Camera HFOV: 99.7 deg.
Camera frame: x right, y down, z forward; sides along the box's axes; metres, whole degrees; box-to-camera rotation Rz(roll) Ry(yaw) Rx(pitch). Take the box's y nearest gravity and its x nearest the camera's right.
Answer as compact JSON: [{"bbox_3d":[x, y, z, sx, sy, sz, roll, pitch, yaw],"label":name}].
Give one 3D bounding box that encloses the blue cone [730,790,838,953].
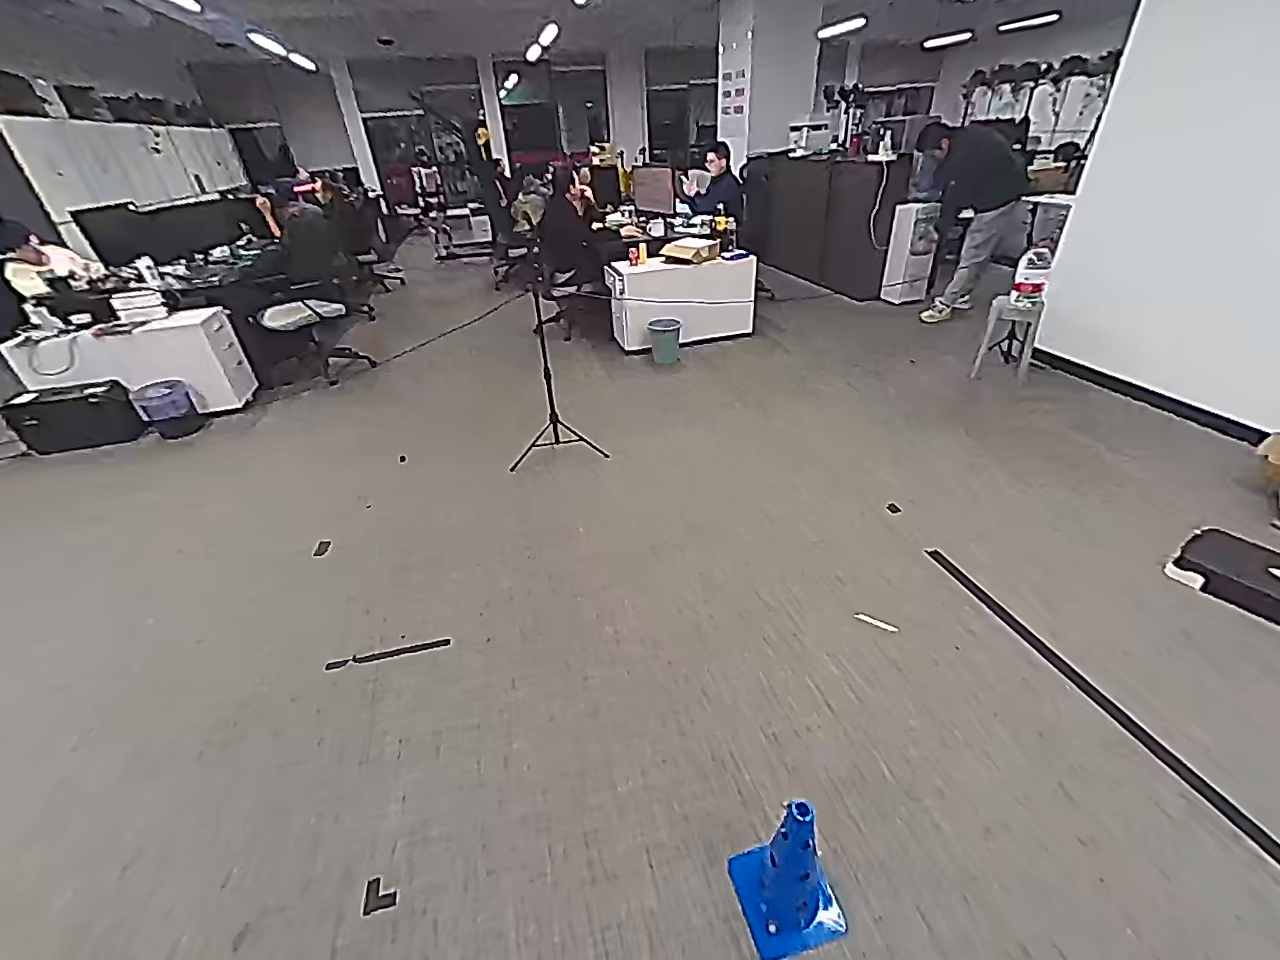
[{"bbox_3d":[0.299,0.751,1.082,0.193,0.380,0.192,-10,32,-10],"label":"blue cone"}]
